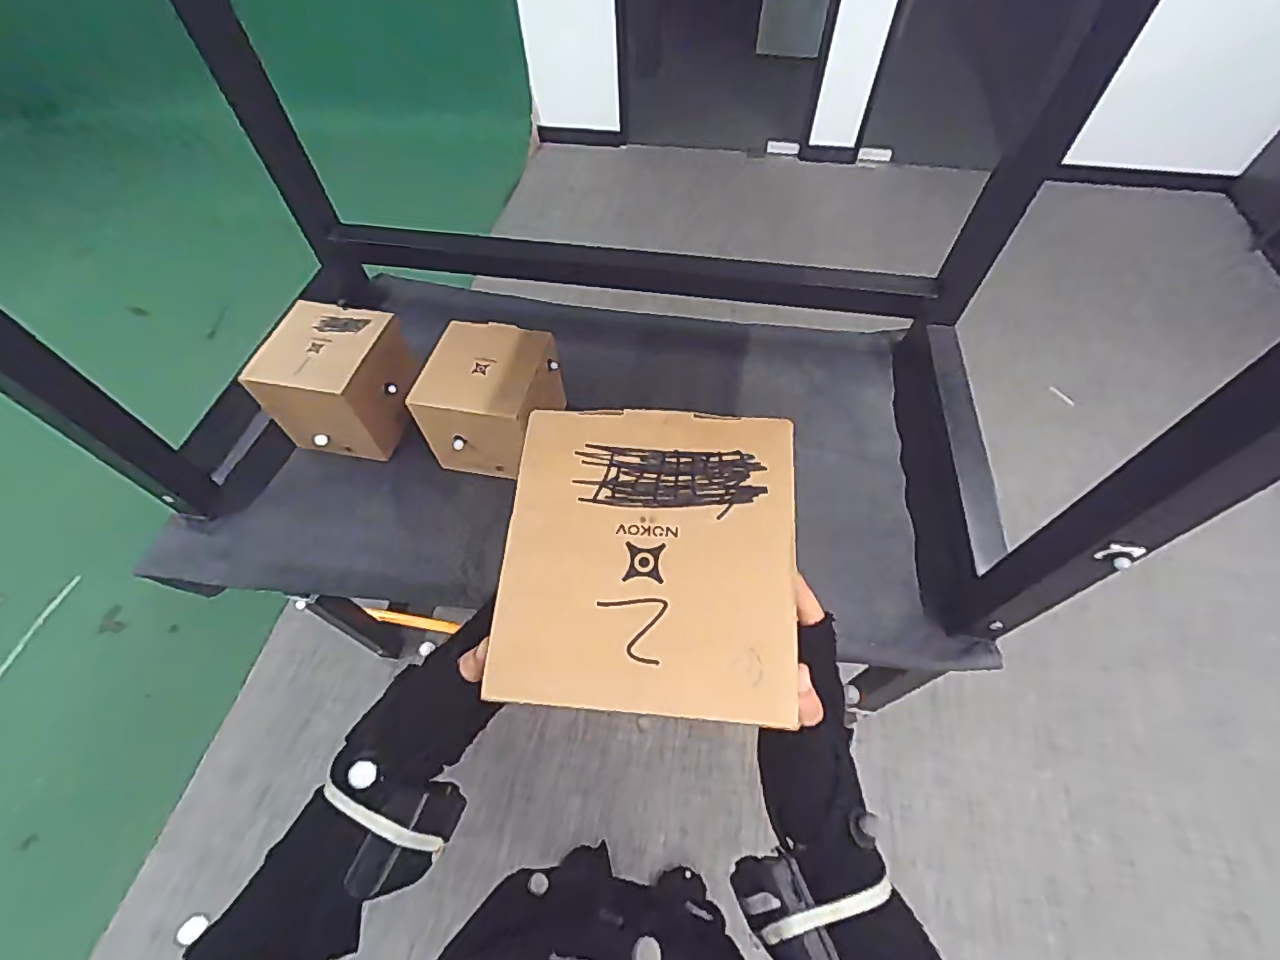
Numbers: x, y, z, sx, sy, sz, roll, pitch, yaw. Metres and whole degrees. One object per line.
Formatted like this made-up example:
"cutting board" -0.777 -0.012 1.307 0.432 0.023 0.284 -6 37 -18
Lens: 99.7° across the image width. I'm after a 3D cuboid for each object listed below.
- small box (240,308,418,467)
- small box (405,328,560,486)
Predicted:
"small box" -0.481 -0.148 0.880 0.168 0.176 0.179 9 57 6
"small box" -0.232 -0.111 0.856 0.168 0.176 0.179 9 56 6
